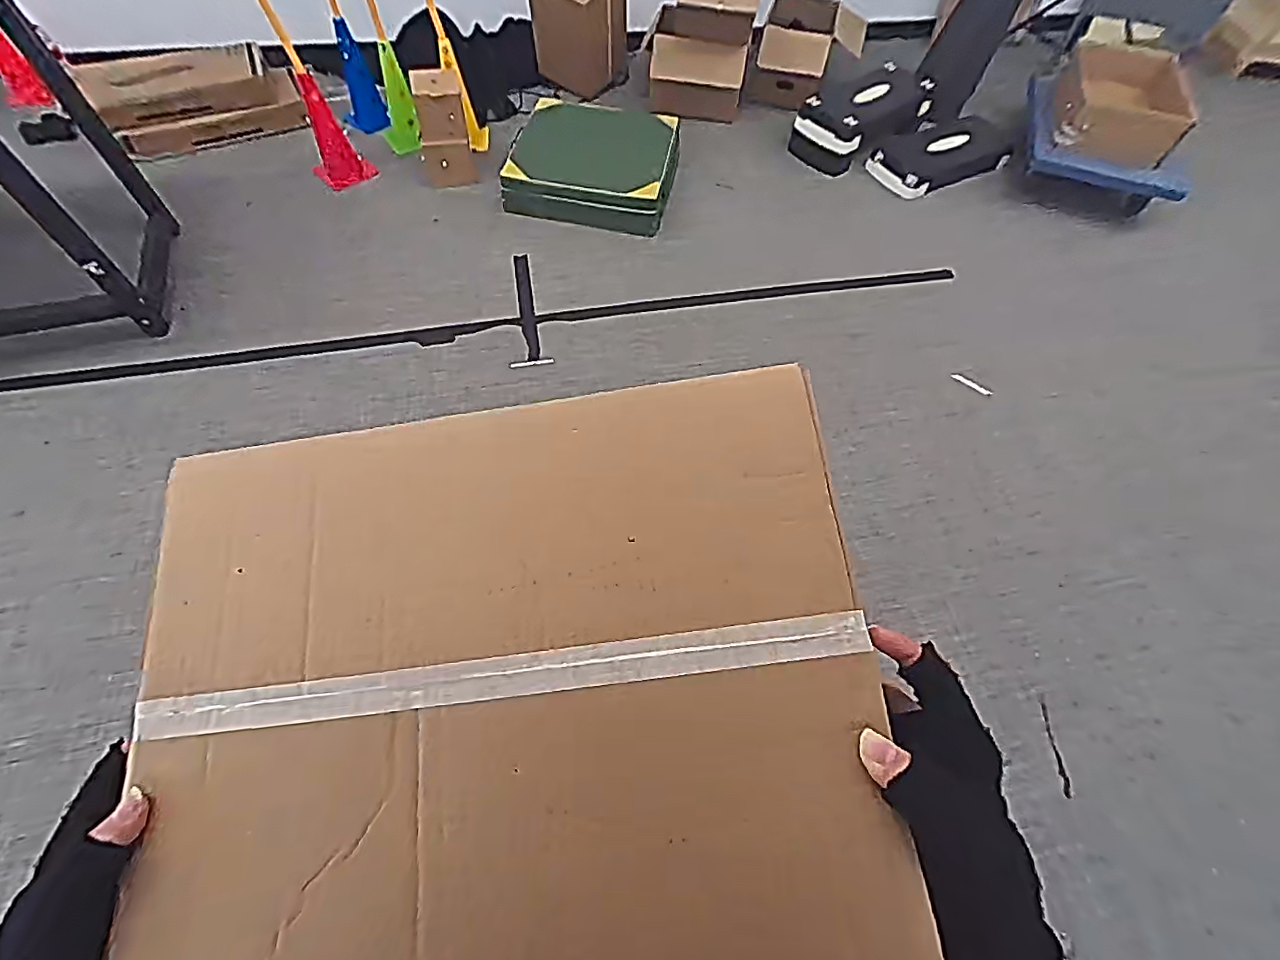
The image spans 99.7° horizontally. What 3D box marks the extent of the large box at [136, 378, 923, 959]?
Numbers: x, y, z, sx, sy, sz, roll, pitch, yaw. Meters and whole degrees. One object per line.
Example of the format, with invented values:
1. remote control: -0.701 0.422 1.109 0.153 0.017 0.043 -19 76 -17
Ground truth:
1. large box: -0.064 0.150 0.445 0.408 0.320 0.320 -8 73 4
